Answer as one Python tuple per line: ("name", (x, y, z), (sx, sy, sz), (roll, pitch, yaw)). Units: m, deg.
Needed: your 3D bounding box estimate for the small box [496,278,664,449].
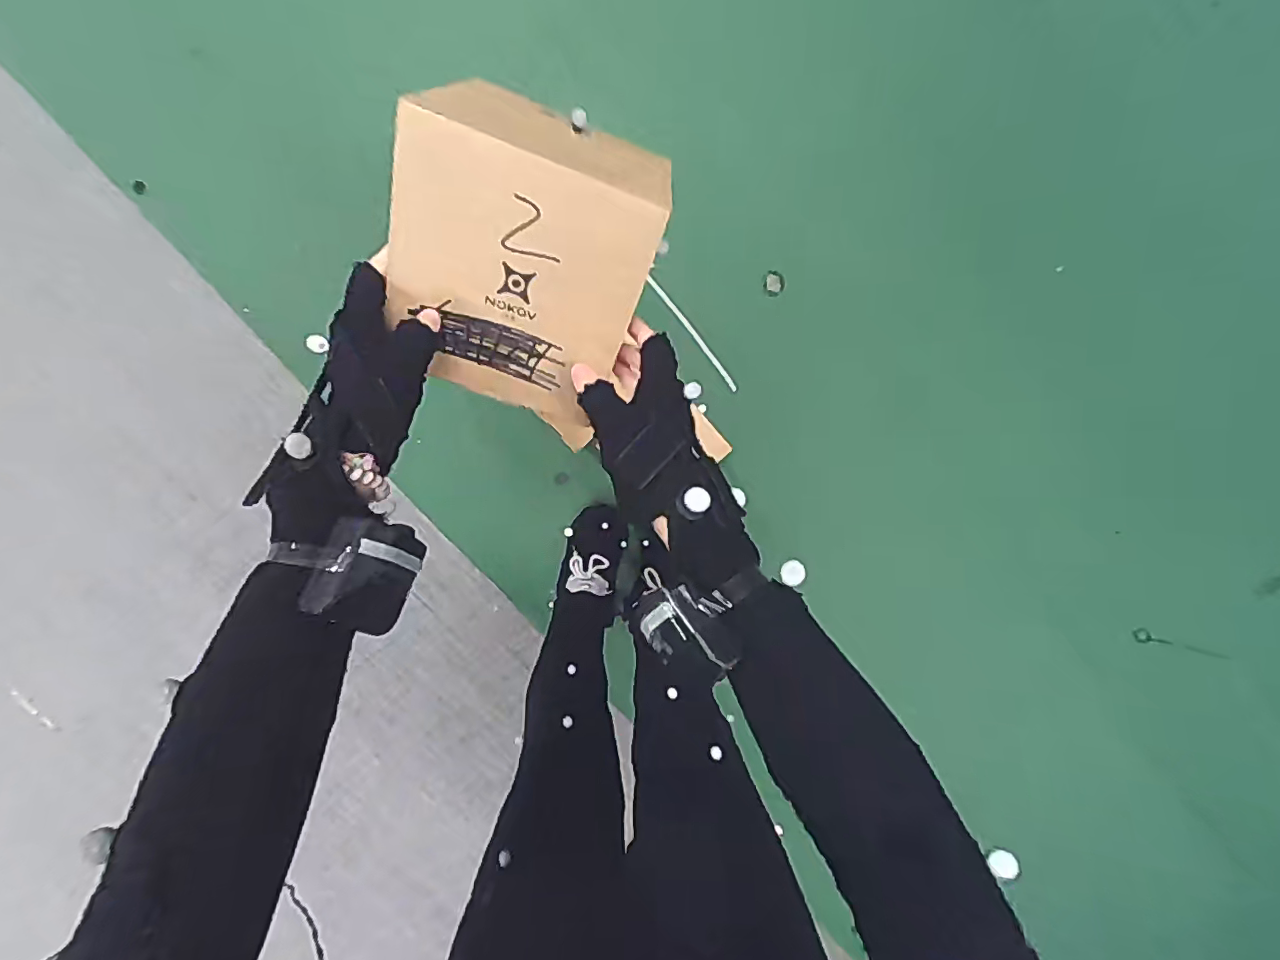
("small box", (-0.085, -0.174, 0.819), (0.179, 0.176, 0.168), (-43, 99, 8))
